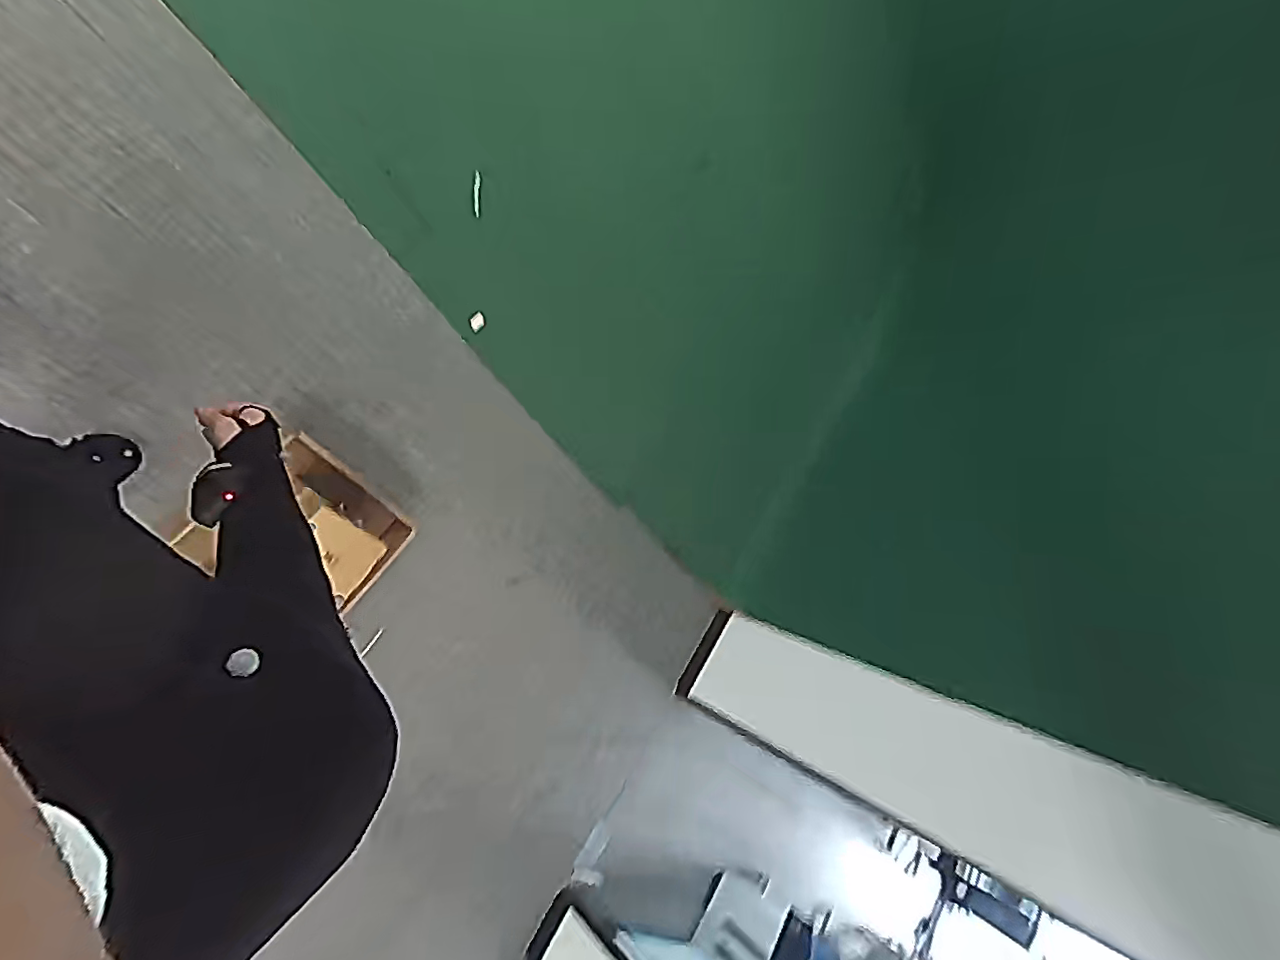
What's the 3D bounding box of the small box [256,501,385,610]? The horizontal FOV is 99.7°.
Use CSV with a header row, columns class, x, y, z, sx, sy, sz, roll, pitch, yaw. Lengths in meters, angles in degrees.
class,x,y,z,sx,sy,sz,roll,pitch,yaw
small box,-0.725,0.162,1.221,0.168,0.176,0.179,-56,130,-18
